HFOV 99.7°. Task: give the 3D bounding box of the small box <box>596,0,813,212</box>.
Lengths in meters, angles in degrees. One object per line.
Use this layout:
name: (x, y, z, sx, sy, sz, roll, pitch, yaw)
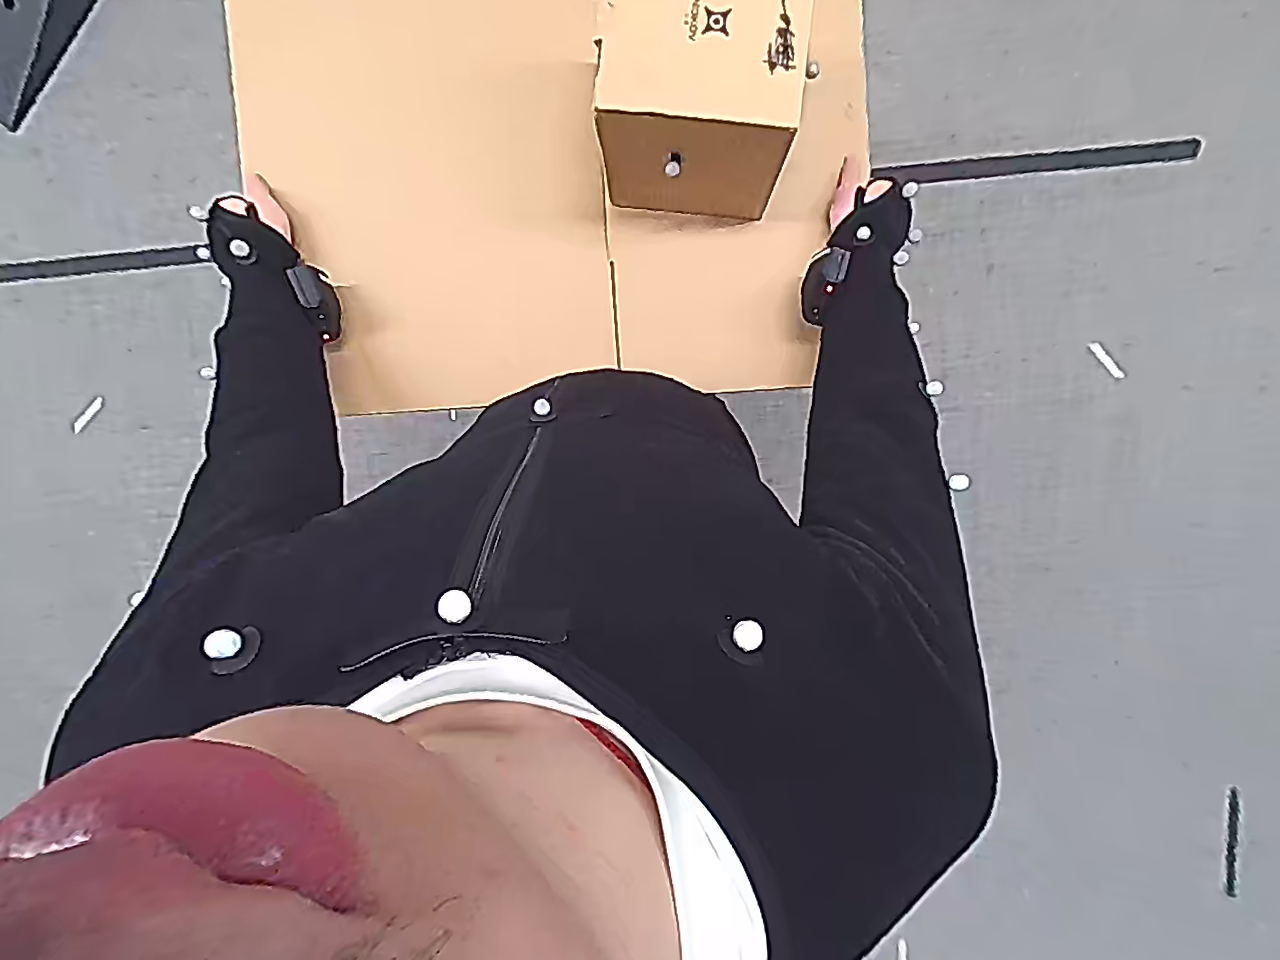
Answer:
small box: (0.062, -0.390, 0.538, 0.179, 0.176, 0.168, 7, 92, 3)
